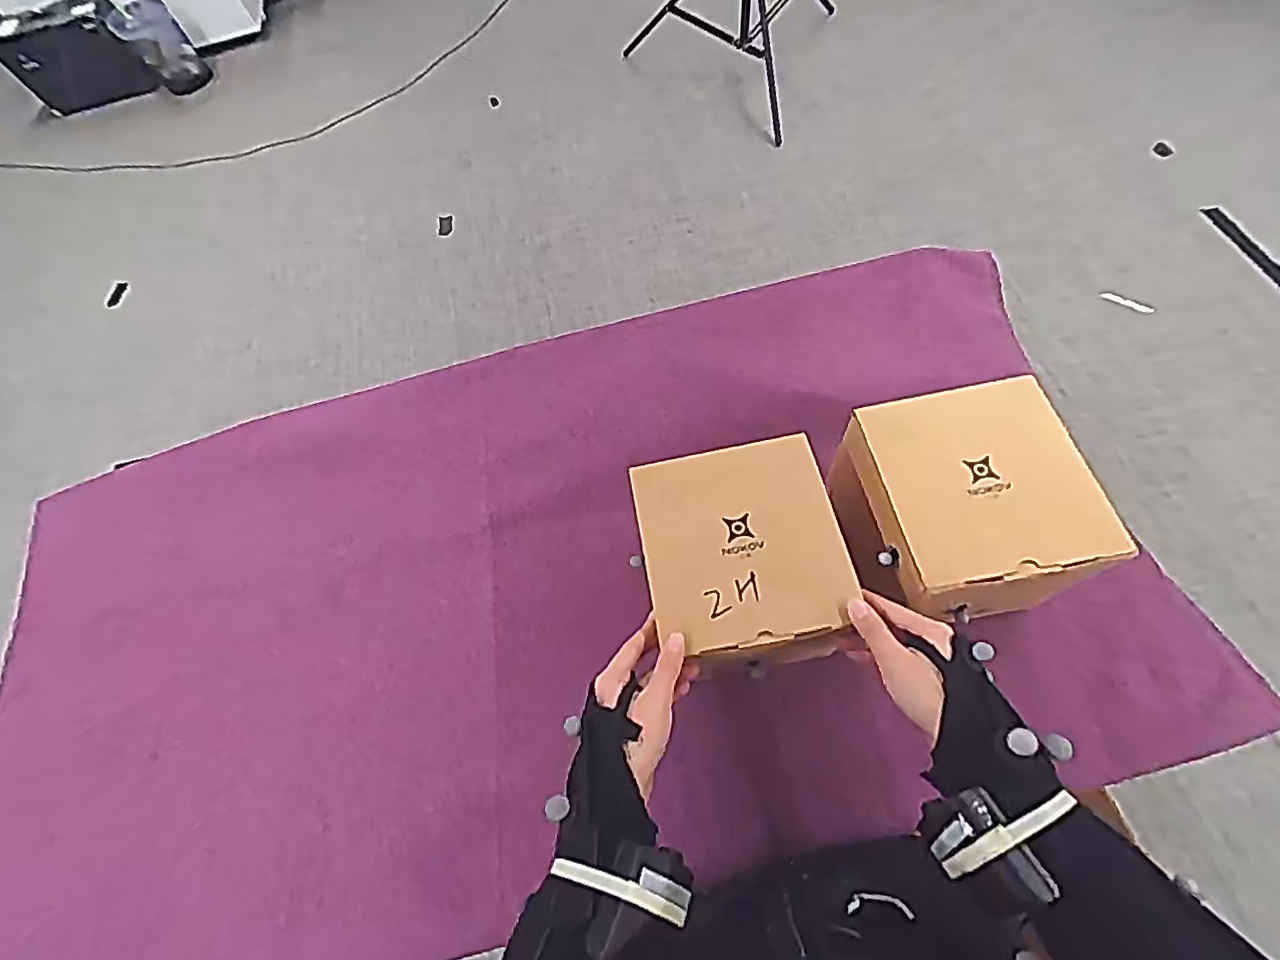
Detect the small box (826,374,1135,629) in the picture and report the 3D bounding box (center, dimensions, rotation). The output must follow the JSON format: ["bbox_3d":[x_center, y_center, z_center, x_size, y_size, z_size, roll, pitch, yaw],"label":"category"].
[{"bbox_3d":[0.296,0.029,0.525,0.168,0.176,0.179,-12,63,3],"label":"small box"}]

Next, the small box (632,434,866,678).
[{"bbox_3d":[0.092,0.083,0.528,0.168,0.176,0.179,-11,64,2],"label":"small box"}]
